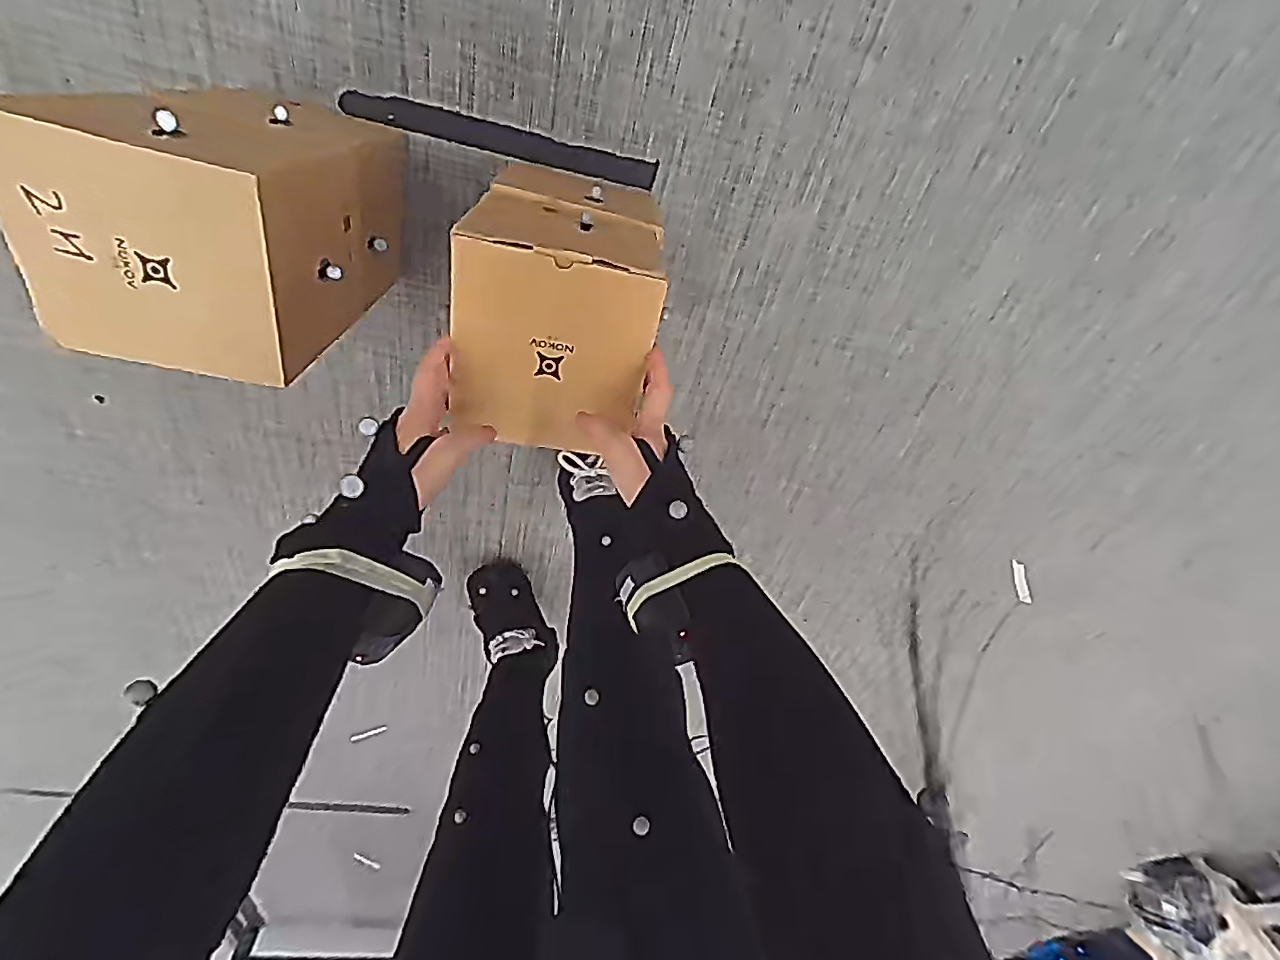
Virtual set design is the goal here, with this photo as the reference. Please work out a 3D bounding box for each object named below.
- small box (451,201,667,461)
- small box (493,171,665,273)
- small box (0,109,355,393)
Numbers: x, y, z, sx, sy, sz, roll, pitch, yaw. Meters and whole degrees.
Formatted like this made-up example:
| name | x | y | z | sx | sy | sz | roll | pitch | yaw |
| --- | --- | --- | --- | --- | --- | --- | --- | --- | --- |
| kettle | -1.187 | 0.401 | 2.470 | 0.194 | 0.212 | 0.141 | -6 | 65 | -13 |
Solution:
| name | x | y | z | sx | sy | sz | roll | pitch | yaw |
| --- | --- | --- | --- | --- | --- | --- | --- | --- | --- |
| small box | -0.078 | -0.145 | 0.519 | 0.168 | 0.176 | 0.179 | 8 | 125 | -10 |
| small box | -0.079 | -0.250 | 0.643 | 0.179 | 0.176 | 0.168 | 10 | 125 | -10 |
| small box | -0.360 | -0.199 | 0.460 | 0.179 | 0.176 | 0.168 | 10 | 125 | -10 |
